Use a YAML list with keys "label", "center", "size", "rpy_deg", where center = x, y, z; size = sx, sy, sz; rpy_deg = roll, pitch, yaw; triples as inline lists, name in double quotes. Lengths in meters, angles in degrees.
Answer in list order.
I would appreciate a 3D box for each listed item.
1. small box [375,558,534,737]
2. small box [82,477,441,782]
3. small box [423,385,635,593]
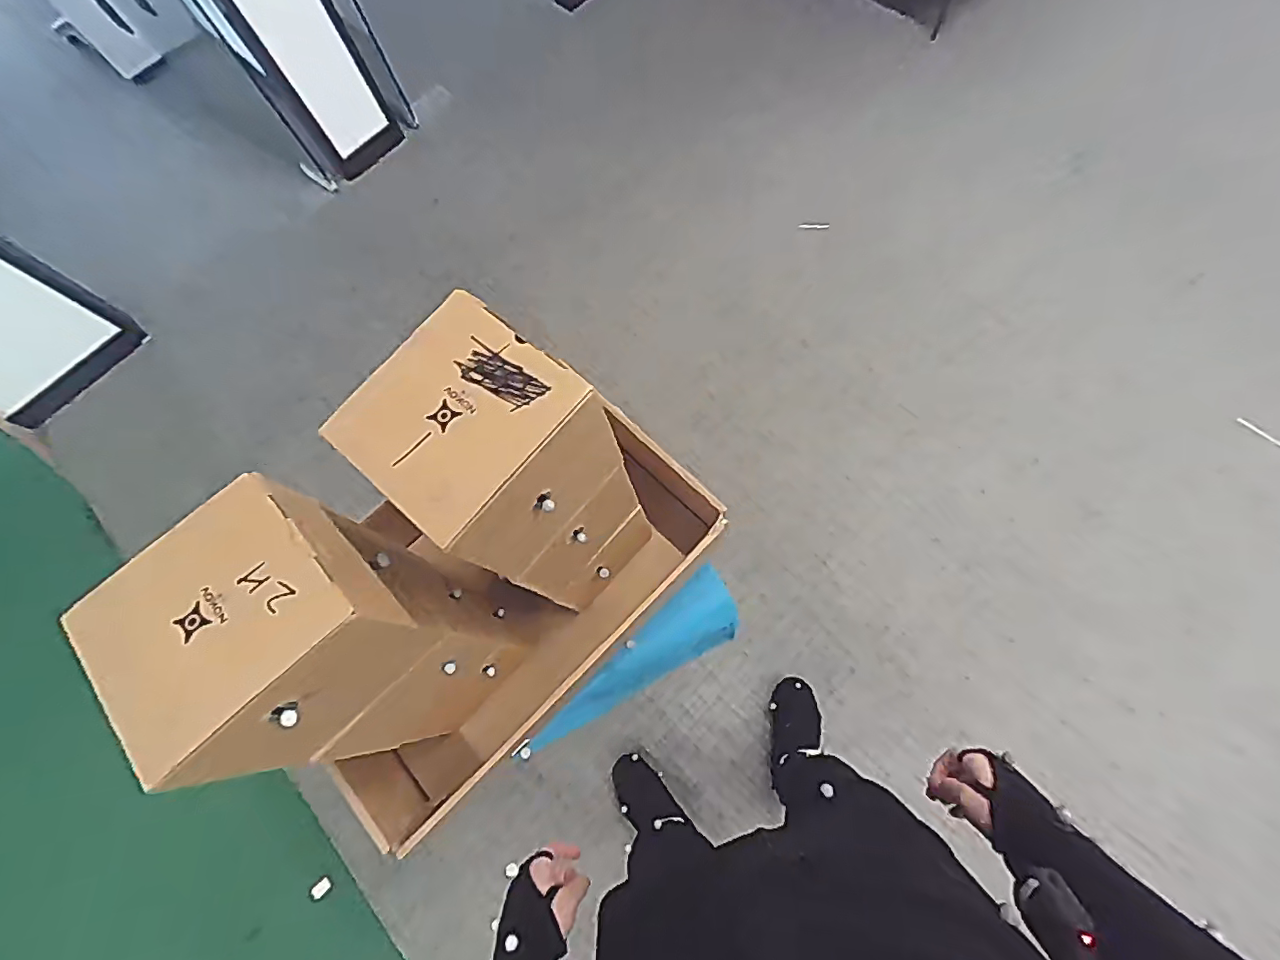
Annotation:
- label: "small box"
  center: [-0.286, 0.248, 0.801]
  size: [0.168, 0.176, 0.179]
  rpy_deg: [42, 79, 18]
- label: "small box"
  center: [-0.322, 0.134, 0.494]
  size: [0.179, 0.176, 0.168]
  rpy_deg: [-42, 71, -10]
- label: "small box"
  center: [-0.124, 0.023, 0.681]
  size: [0.168, 0.176, 0.179]
  rpy_deg: [39, 81, 17]
